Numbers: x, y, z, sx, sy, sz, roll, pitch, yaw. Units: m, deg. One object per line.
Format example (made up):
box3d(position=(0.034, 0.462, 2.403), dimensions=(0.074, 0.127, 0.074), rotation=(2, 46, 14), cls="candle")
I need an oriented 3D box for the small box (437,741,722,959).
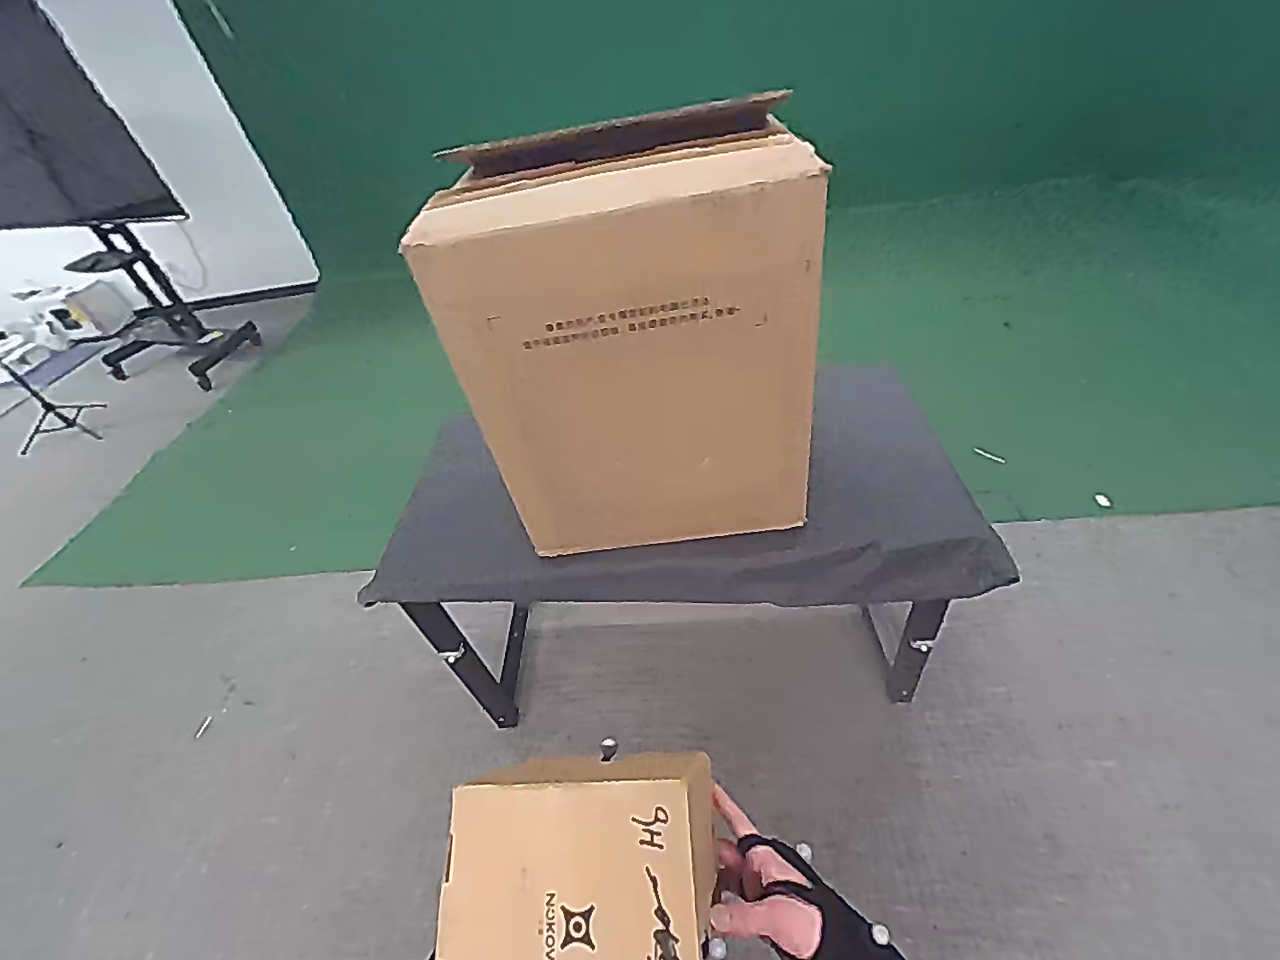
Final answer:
box3d(position=(-0.035, 0.308, 0.429), dimensions=(0.179, 0.176, 0.168), rotation=(-6, 69, 11), cls="small box")
